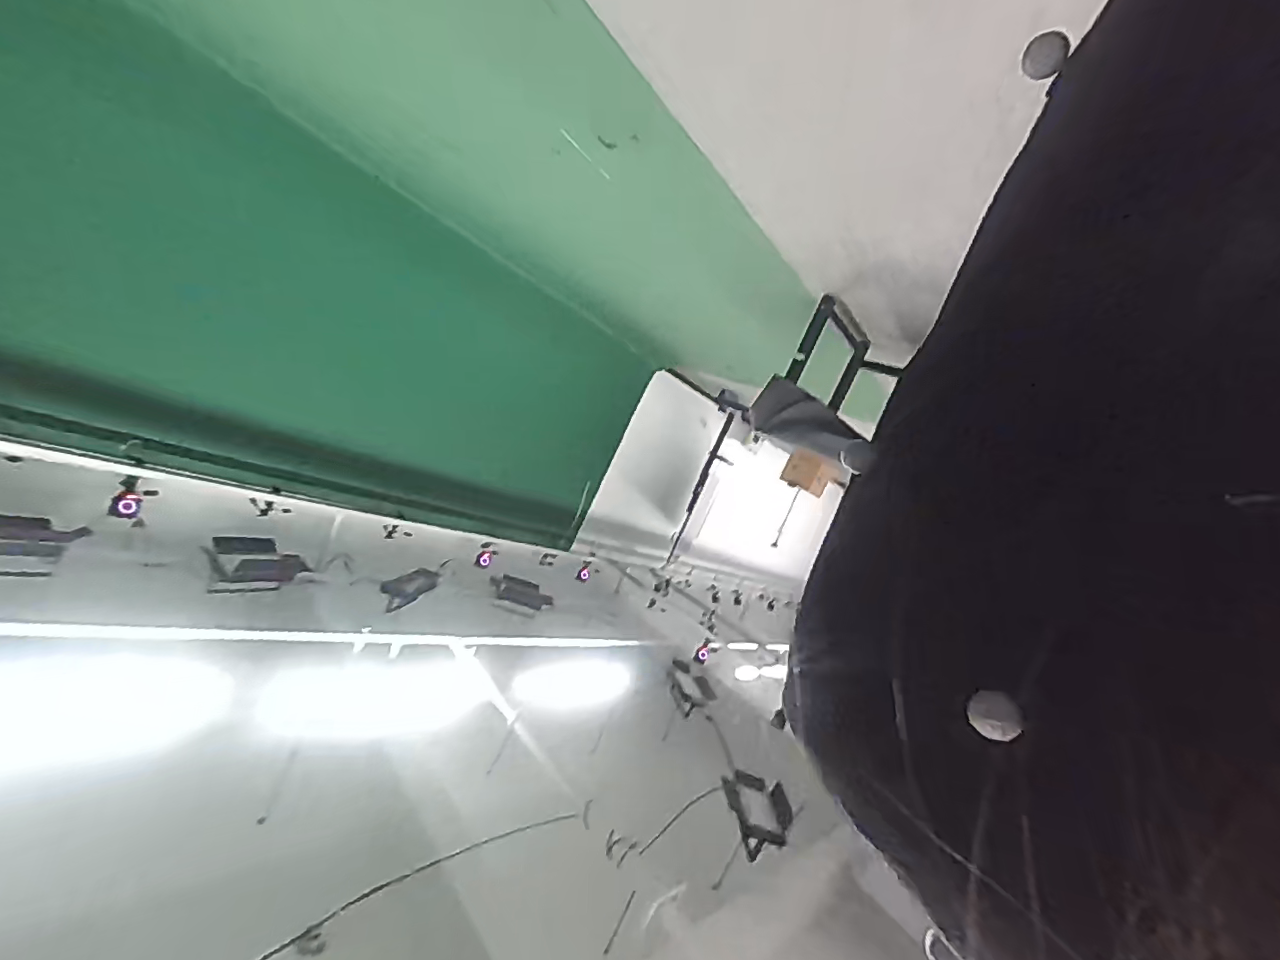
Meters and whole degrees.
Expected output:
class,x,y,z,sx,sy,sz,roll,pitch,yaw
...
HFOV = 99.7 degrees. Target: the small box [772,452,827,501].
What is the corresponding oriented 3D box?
class,x,y,z,sx,sy,sz,roll,pitch,yaw
small box,0.770,-0.019,2.597,0.168,0.176,0.179,29,-174,39
